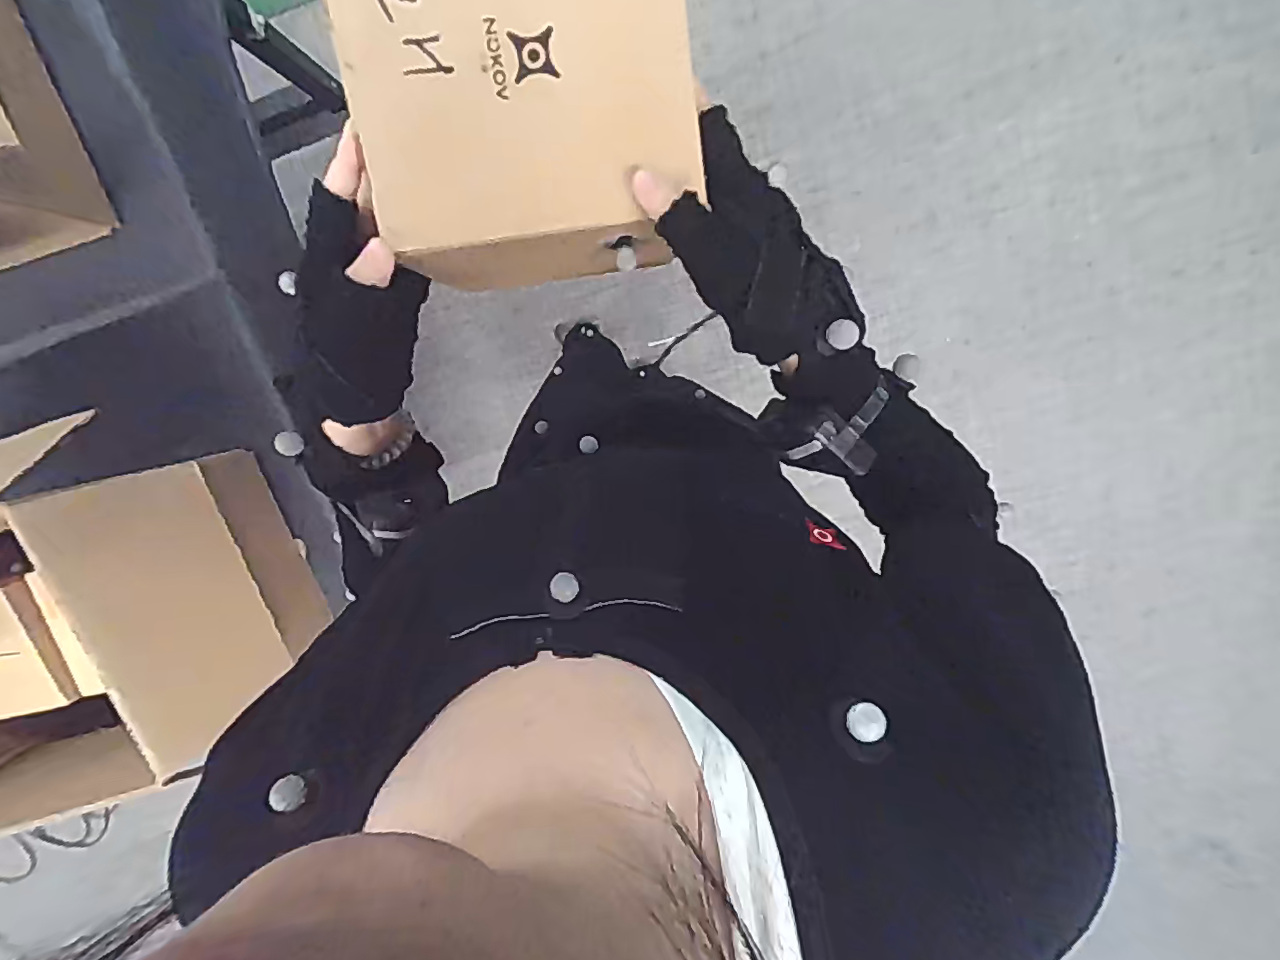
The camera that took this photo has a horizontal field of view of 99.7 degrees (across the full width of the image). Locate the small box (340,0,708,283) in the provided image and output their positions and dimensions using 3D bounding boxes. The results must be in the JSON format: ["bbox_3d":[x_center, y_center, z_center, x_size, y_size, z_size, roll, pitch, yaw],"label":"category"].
[{"bbox_3d":[-0.064,-0.232,0.352,0.179,0.176,0.168,-8,103,-3],"label":"small box"}]
